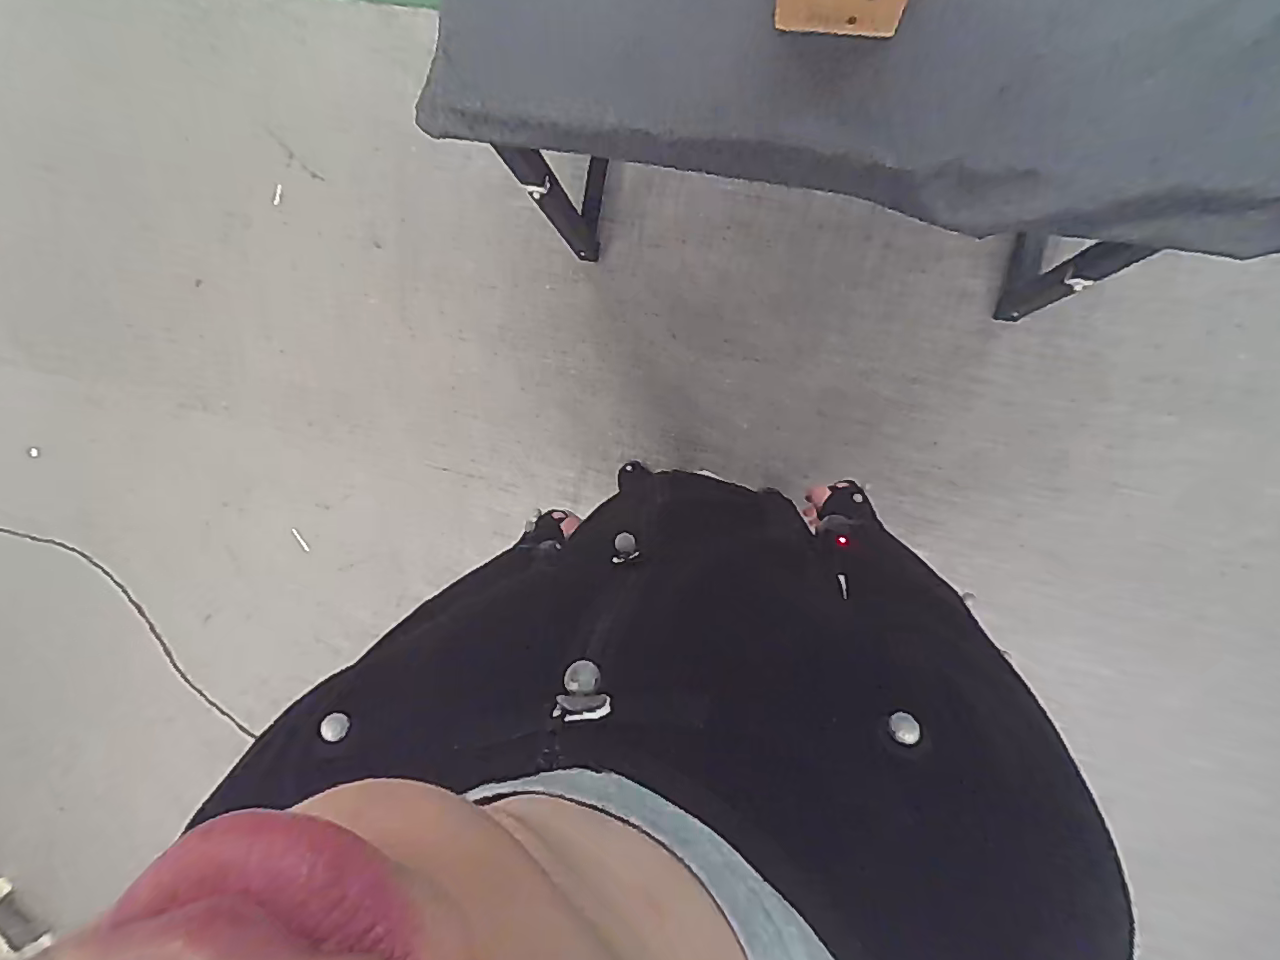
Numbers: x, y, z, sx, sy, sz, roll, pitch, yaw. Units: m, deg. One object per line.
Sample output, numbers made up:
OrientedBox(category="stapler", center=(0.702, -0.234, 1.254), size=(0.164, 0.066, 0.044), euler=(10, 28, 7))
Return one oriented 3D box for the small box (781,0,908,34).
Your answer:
OrientedBox(category="small box", center=(0.279, -0.710, 0.677), size=(0.168, 0.176, 0.179), euler=(11, 94, 7))
